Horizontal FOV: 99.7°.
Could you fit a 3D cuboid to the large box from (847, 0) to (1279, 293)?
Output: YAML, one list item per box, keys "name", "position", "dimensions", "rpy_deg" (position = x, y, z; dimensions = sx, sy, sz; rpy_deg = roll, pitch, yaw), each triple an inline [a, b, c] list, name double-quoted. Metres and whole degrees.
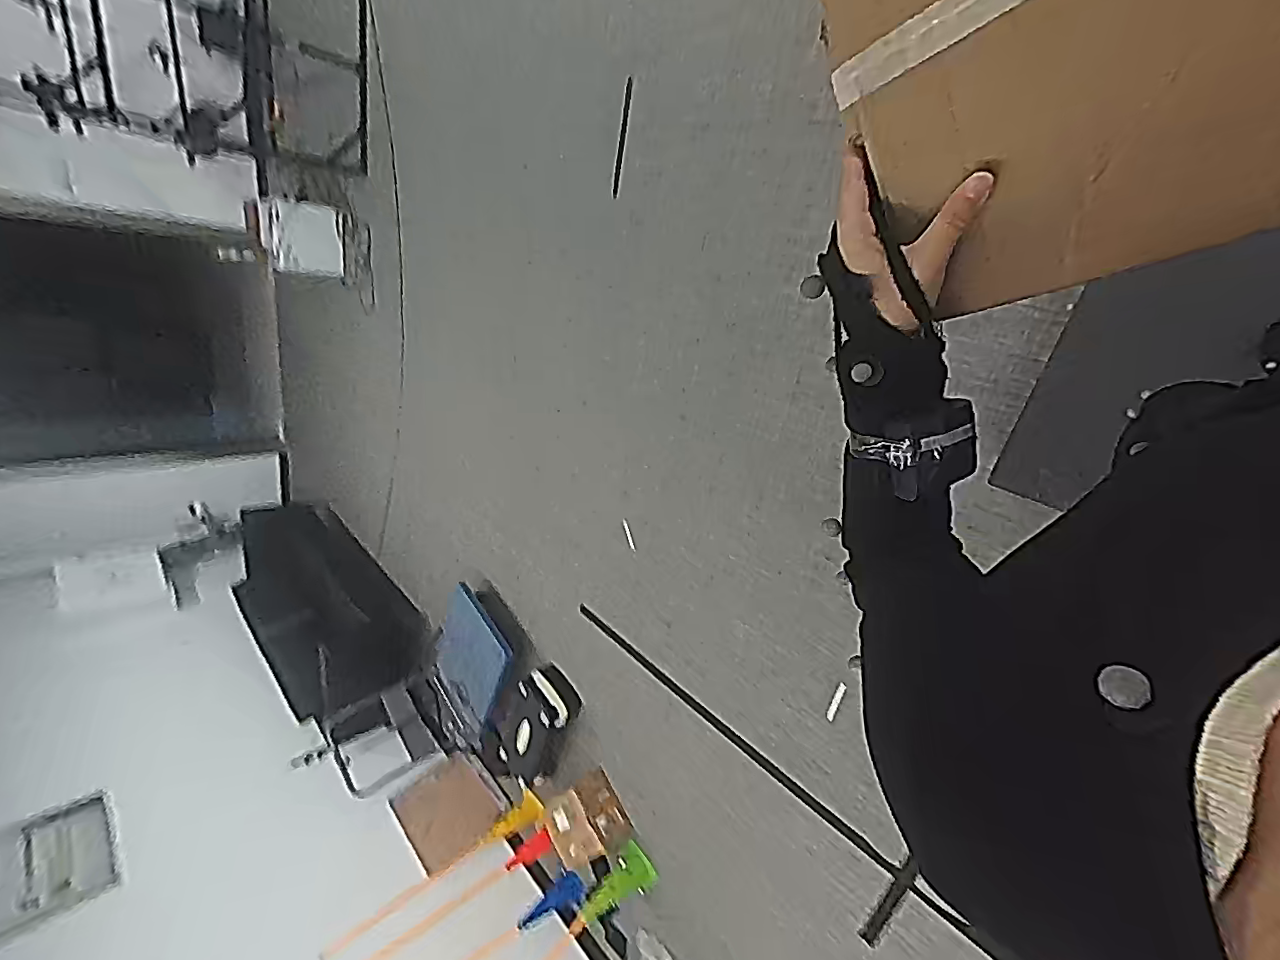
- name: "large box"
  position: [0.350, -0.348, 0.269]
  dimensions: [0.408, 0.320, 0.320]
  rpy_deg: [-7, 119, 45]
